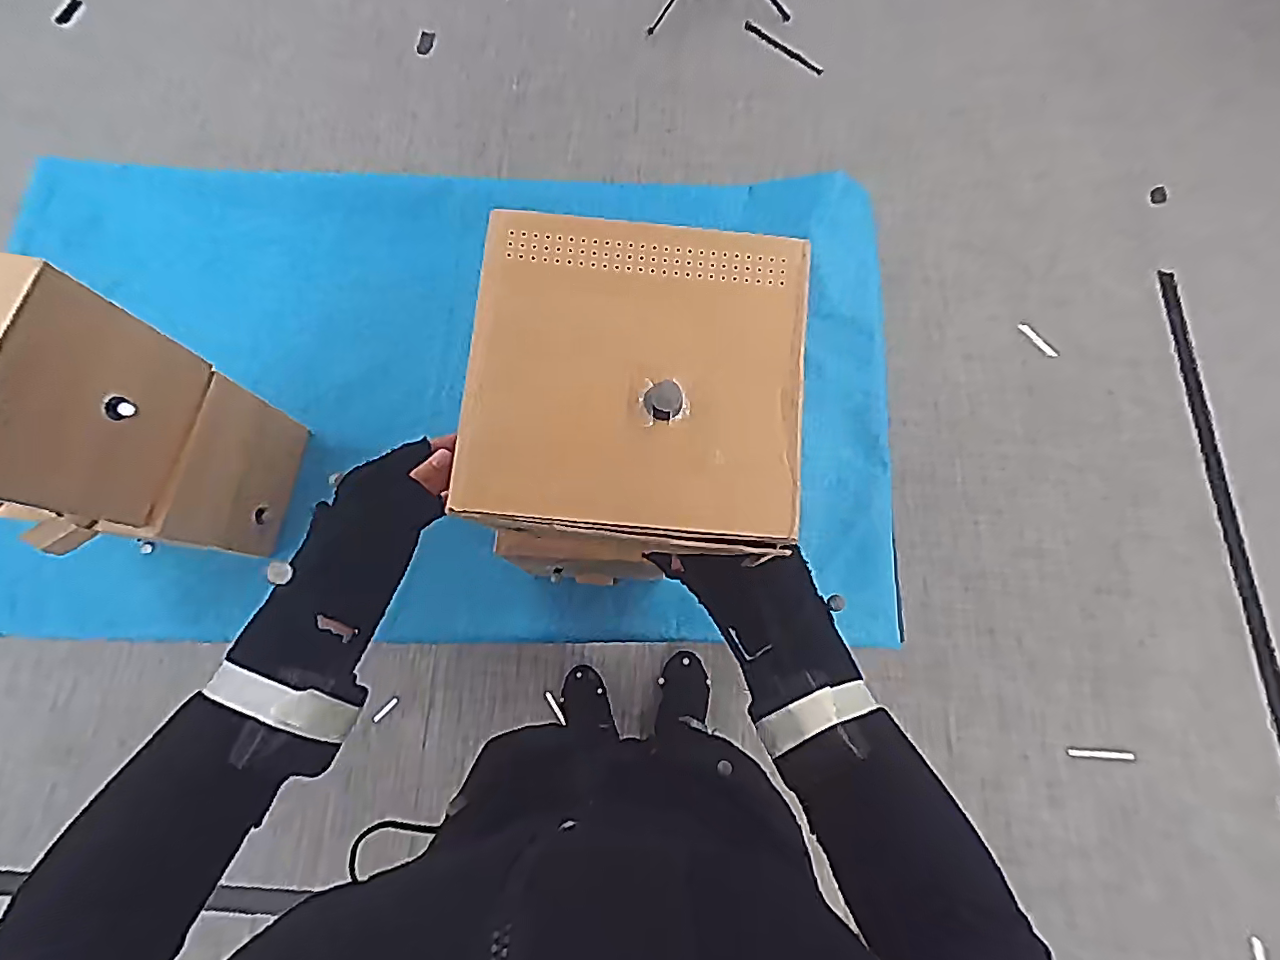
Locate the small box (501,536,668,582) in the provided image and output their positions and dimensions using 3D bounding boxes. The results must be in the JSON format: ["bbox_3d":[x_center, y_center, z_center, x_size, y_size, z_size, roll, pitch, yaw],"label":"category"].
[{"bbox_3d":[-0.051,0.016,0.609,0.168,0.176,0.179,2,73,0],"label":"small box"}]

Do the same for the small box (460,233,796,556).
[{"bbox_3d":[-0.004,-0.041,0.363,0.179,0.168,0.176,5,79,-1],"label":"small box"}]

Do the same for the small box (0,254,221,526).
[{"bbox_3d":[-0.526,-0.072,0.461,0.168,0.176,0.179,11,76,3],"label":"small box"}]

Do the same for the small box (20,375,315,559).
[{"bbox_3d":[-0.520,-0.016,0.616,0.168,0.176,0.179,7,75,1],"label":"small box"}]
